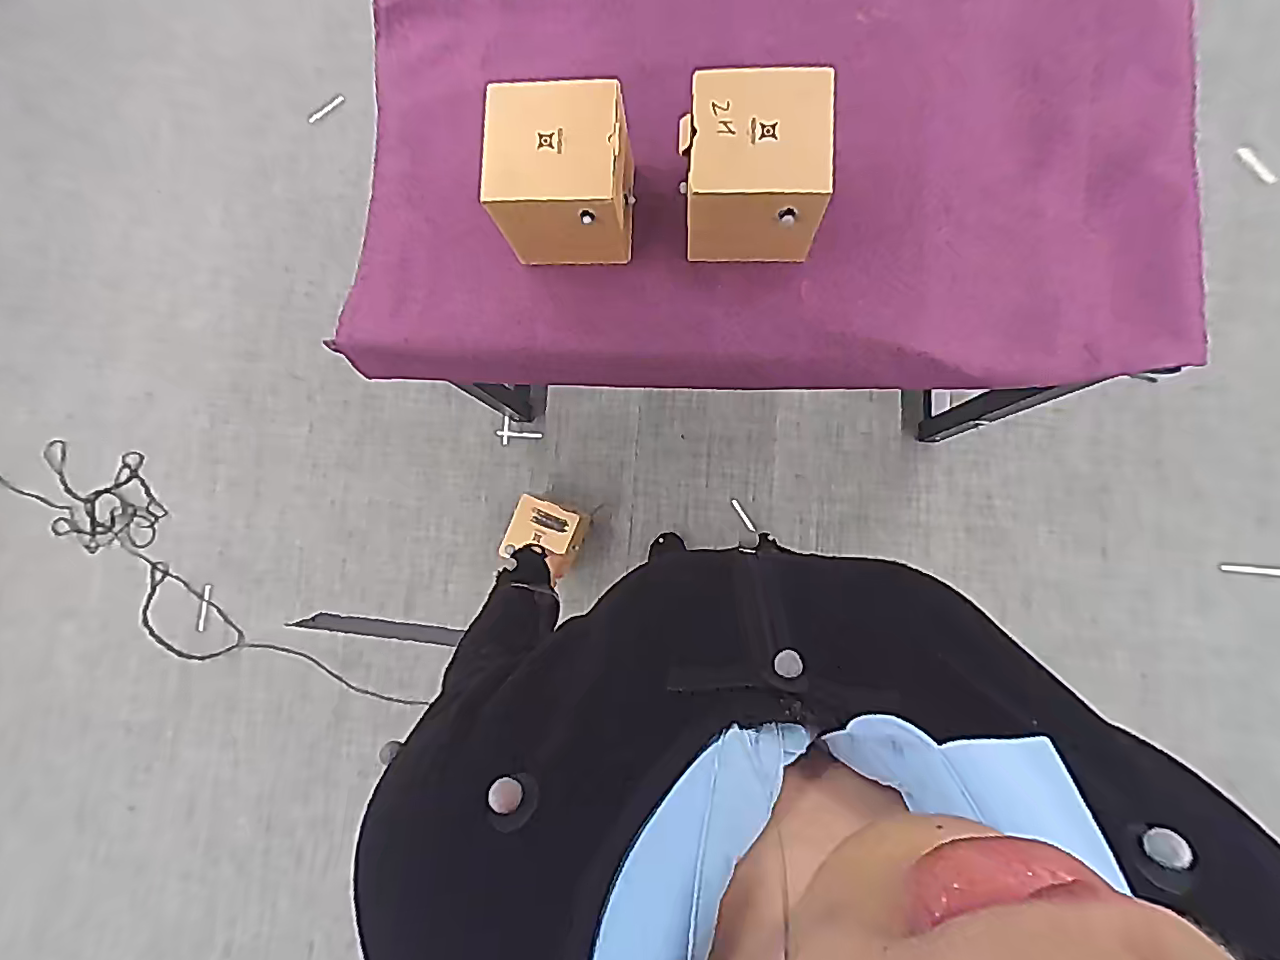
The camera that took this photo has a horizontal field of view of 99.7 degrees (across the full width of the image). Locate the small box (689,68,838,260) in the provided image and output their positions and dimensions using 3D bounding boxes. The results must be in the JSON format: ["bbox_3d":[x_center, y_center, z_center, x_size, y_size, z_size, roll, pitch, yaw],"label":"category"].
[{"bbox_3d":[0.159,-0.419,0.742,0.179,0.176,0.168,2,84,6],"label":"small box"}]

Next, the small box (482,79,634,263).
[{"bbox_3d":[-0.106,-0.425,0.770,0.179,0.176,0.168,1,85,5],"label":"small box"}]
